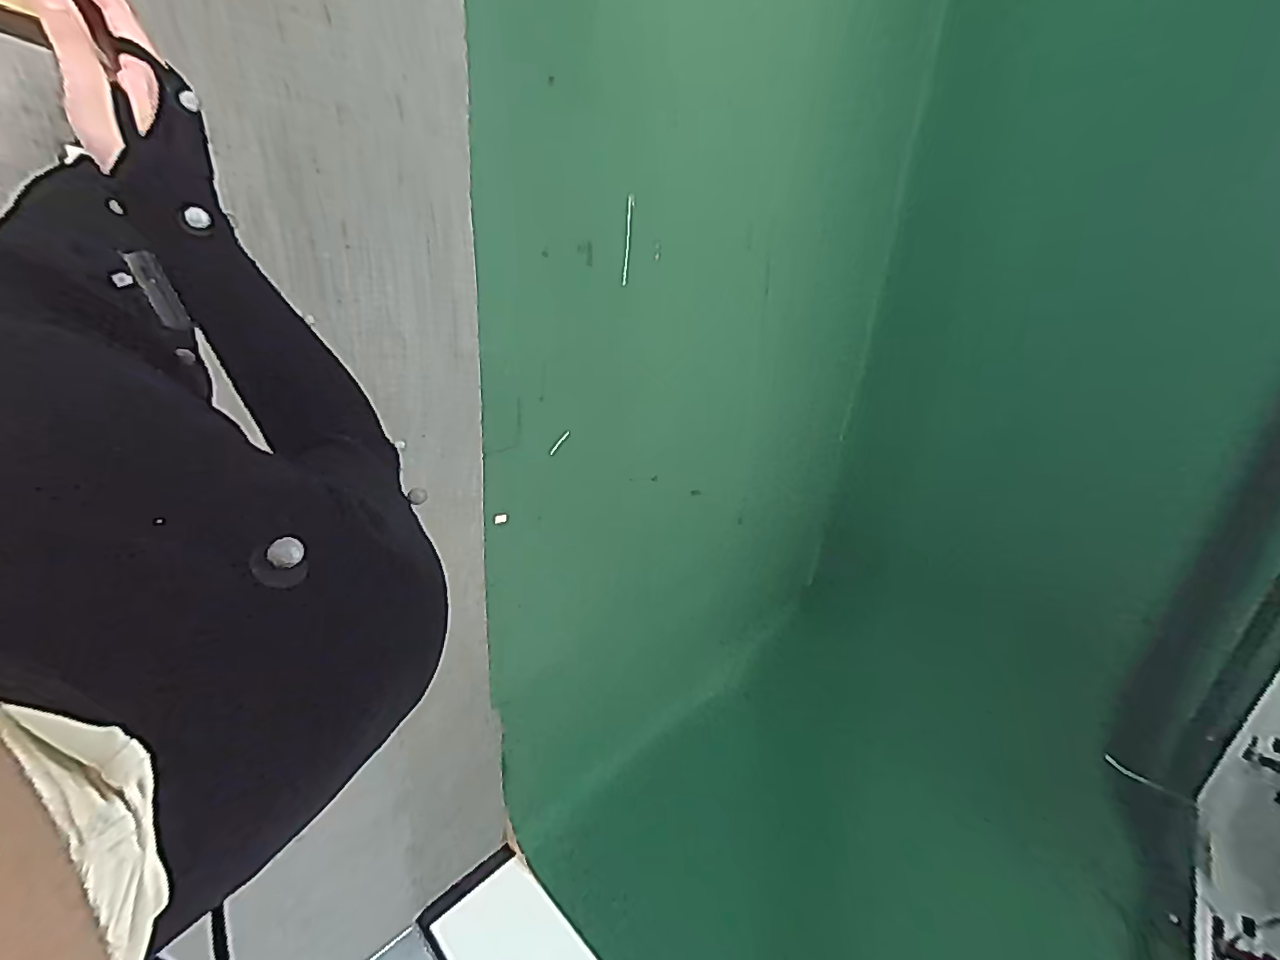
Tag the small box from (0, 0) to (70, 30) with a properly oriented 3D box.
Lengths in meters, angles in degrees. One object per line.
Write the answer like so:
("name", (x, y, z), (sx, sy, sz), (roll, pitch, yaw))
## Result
("small box", (-0.478, -0.408, 0.322), (0.179, 0.176, 0.168), (-6, 117, -47))
